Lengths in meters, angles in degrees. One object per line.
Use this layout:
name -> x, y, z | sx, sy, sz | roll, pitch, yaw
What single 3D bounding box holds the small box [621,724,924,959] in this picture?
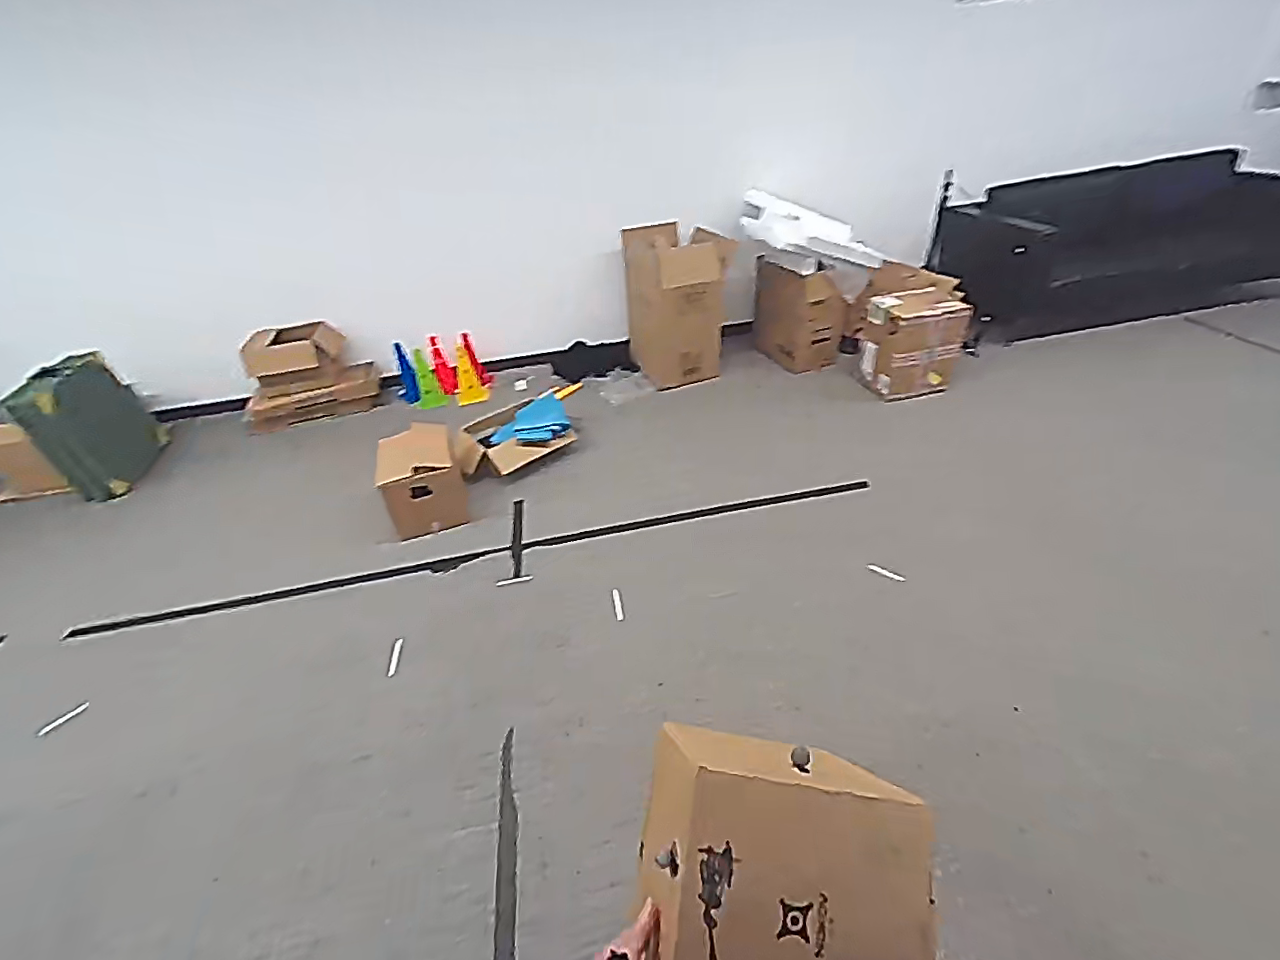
small box -> 0.092, 0.304, 0.430 | 0.179, 0.176, 0.168 | 12, 73, -6
